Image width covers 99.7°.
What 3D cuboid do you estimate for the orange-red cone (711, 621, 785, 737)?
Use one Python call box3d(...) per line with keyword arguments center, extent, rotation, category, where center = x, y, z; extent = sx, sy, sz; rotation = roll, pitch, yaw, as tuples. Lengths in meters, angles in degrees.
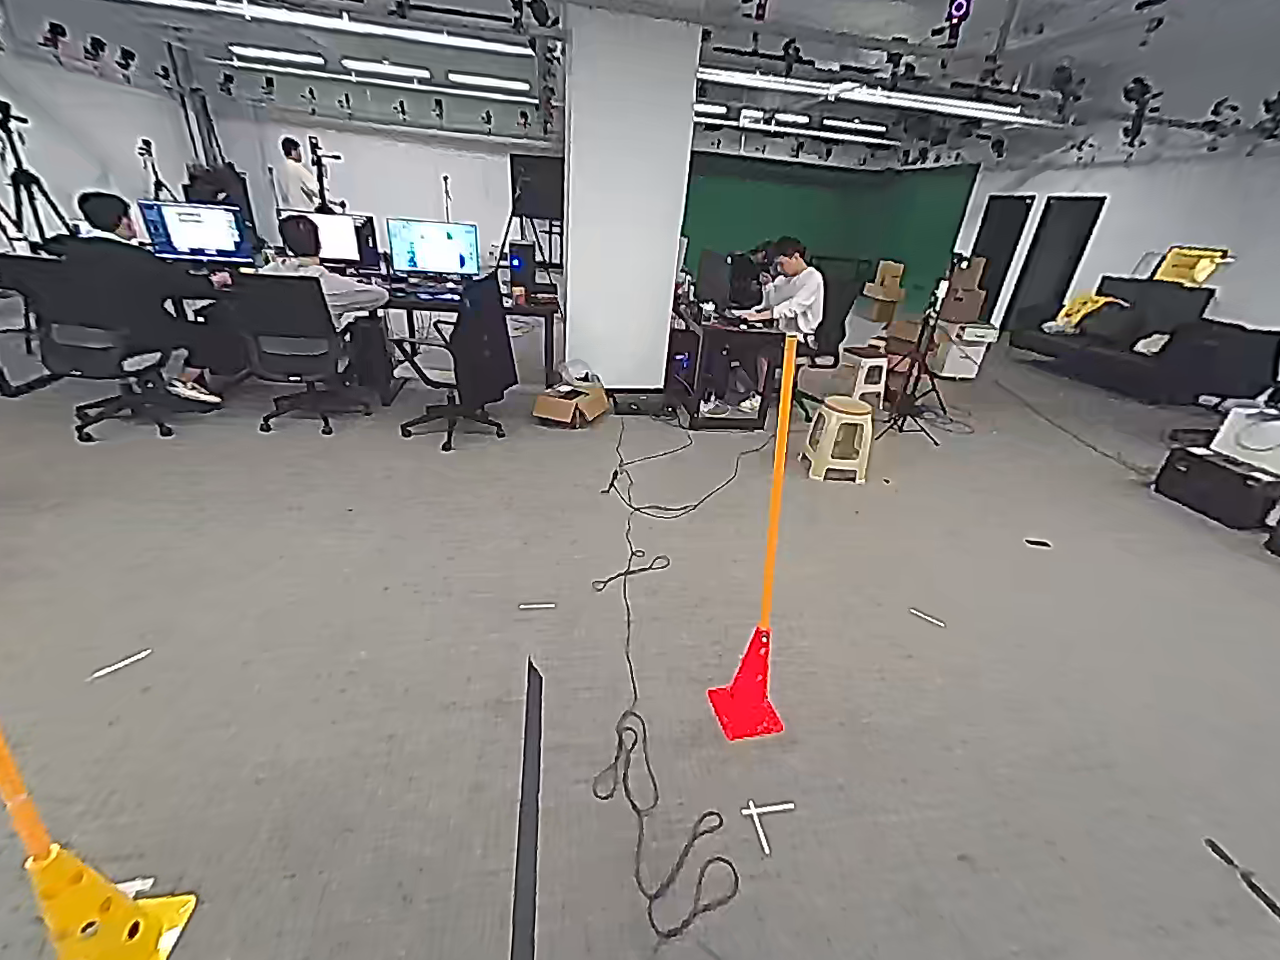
box3d(center=(0.355, 0.587, 1.671), extent=(0.199, 0.360, 0.198), rotation=(-3, 27, -13), category="orange-red cone")
